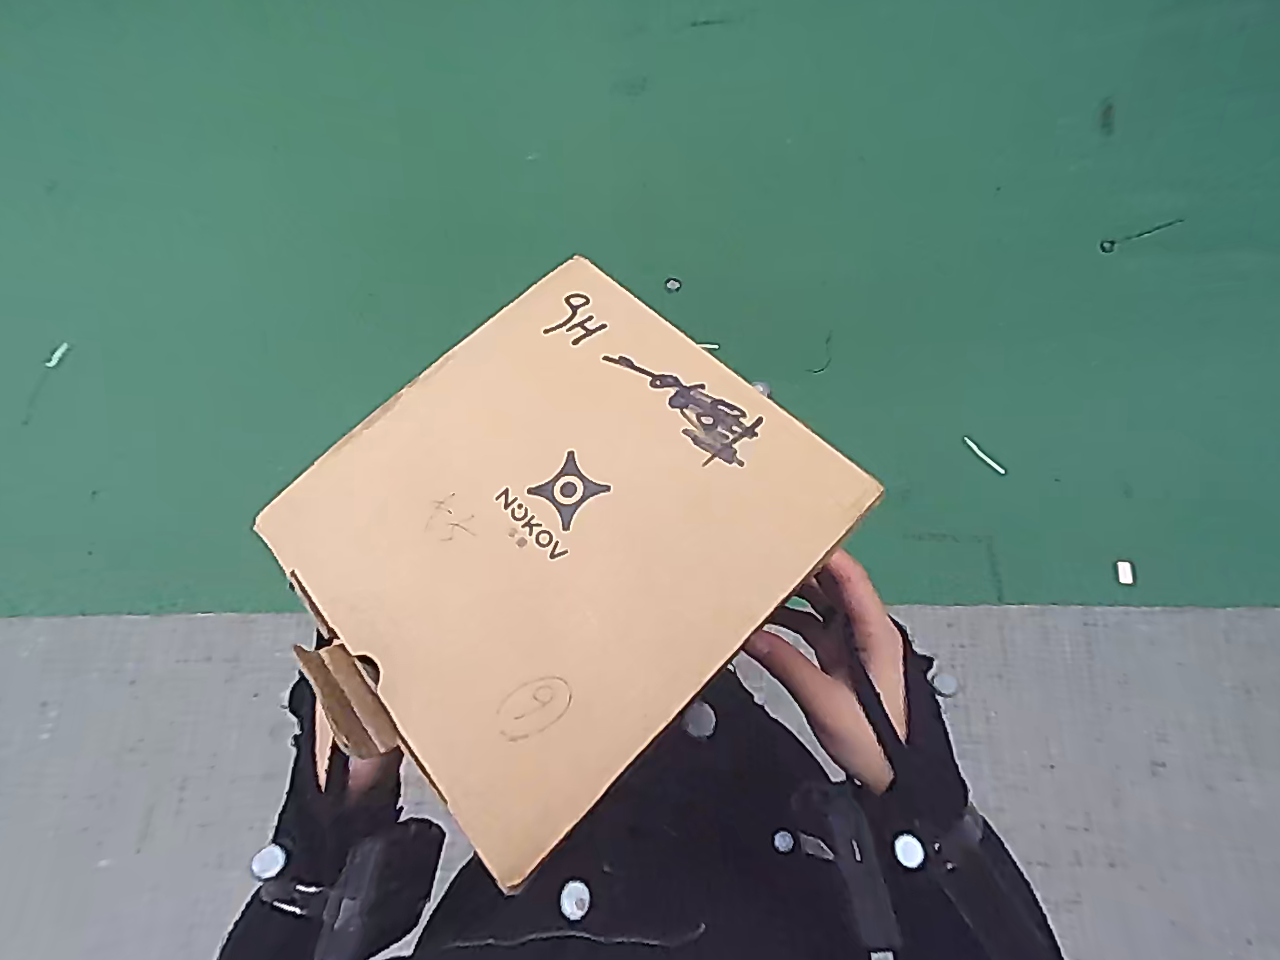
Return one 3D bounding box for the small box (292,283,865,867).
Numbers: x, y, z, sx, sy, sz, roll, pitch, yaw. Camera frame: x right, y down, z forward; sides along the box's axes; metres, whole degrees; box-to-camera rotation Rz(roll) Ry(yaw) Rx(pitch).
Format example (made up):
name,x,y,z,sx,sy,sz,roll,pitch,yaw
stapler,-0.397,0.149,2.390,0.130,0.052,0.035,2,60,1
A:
name,x,y,z,sx,sy,sz,roll,pitch,yaw
small box,-0.021,0.045,0.286,0.179,0.176,0.168,-44,70,-11
